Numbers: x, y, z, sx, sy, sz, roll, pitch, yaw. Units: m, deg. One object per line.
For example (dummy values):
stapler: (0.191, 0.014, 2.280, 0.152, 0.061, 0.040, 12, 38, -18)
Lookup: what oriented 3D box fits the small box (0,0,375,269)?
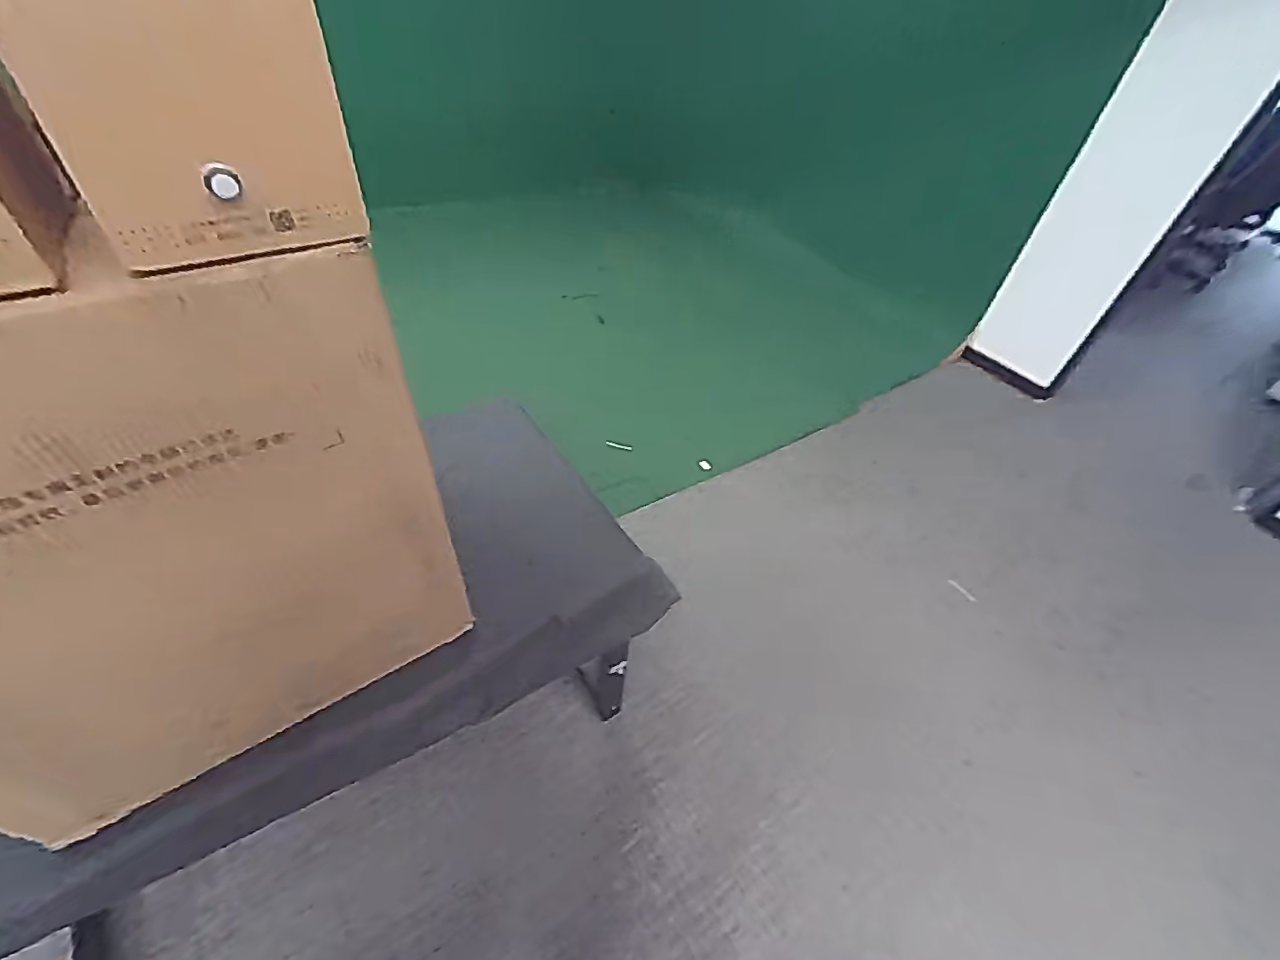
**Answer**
small box: (-0.322, -0.279, 0.397, 0.168, 0.176, 0.179, -26, 55, -28)
